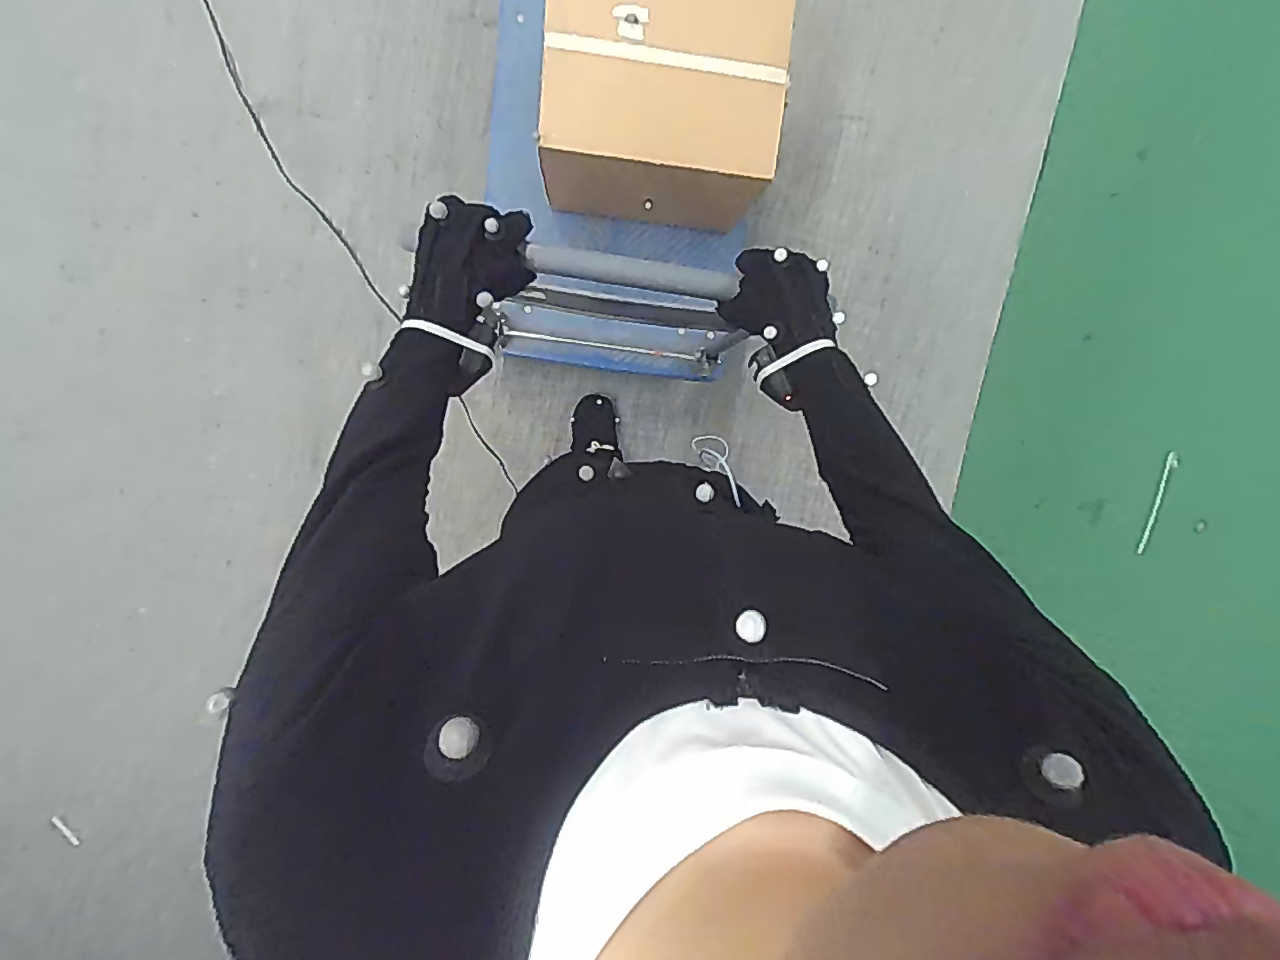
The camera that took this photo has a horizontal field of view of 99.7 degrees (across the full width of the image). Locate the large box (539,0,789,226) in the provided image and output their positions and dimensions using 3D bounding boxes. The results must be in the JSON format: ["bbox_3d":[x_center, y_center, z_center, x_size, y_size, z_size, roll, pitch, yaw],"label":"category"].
[{"bbox_3d":[0.033,-0.713,1.044,0.408,0.320,0.320,5,98,-5],"label":"large box"}]
